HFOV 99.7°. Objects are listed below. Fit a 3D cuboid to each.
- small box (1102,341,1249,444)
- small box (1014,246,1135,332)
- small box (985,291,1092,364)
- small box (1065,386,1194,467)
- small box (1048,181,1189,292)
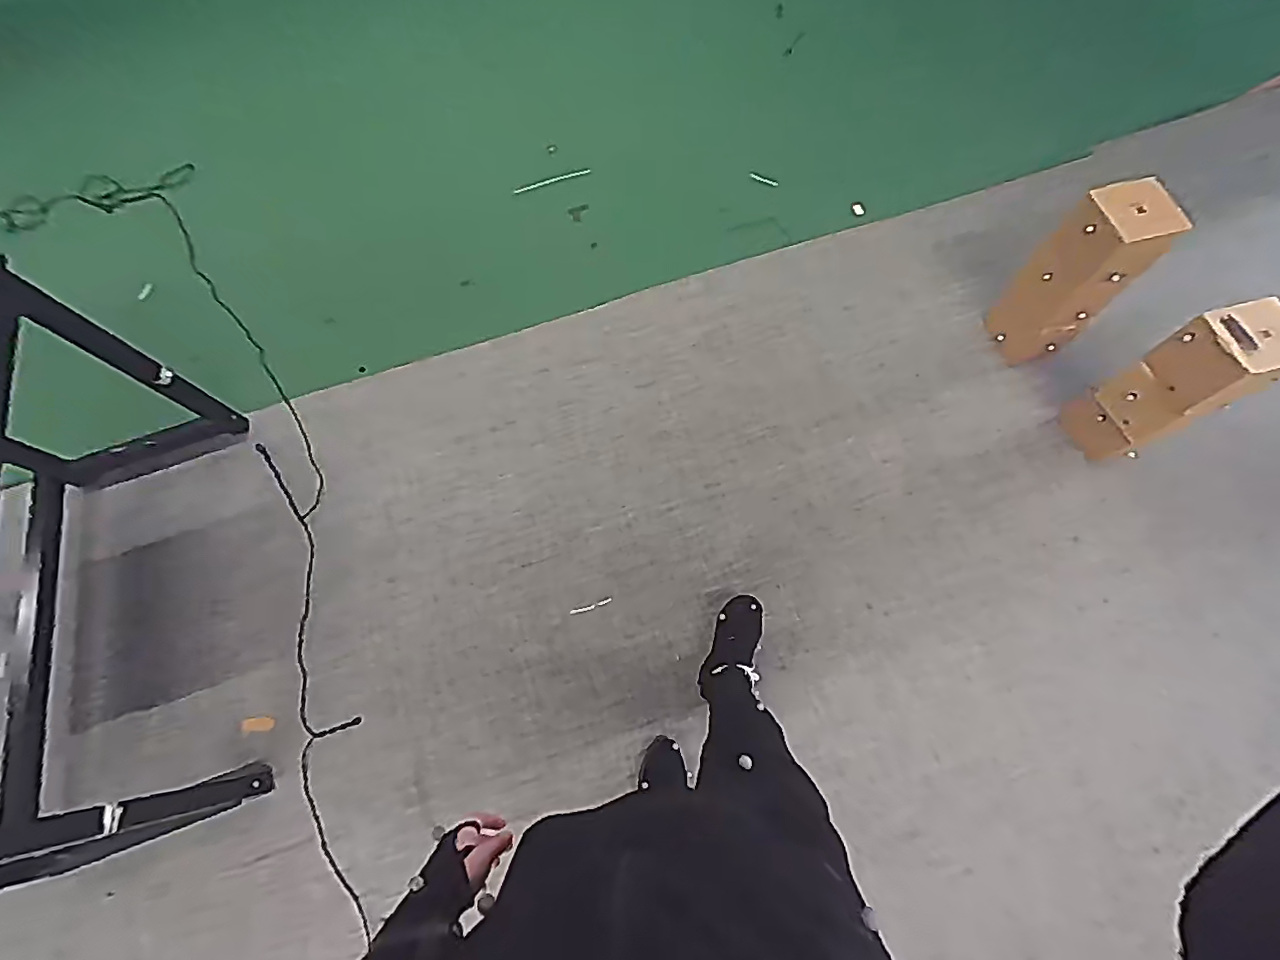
[{"bbox_3d":[1.332,-0.213,1.367,0.179,0.176,0.168,-20,68,-4],"label":"small box"},{"bbox_3d":[1.200,-0.546,1.513,0.168,0.176,0.179,-14,68,-1],"label":"small box"},{"bbox_3d":[1.215,-0.477,1.662,0.168,0.176,0.179,-15,68,-2],"label":"small box"},{"bbox_3d":[1.358,-0.162,1.520,0.168,0.176,0.179,-17,68,-2],"label":"small box"},{"bbox_3d":[1.188,-0.609,1.363,0.168,0.176,0.179,-13,68,0],"label":"small box"}]
